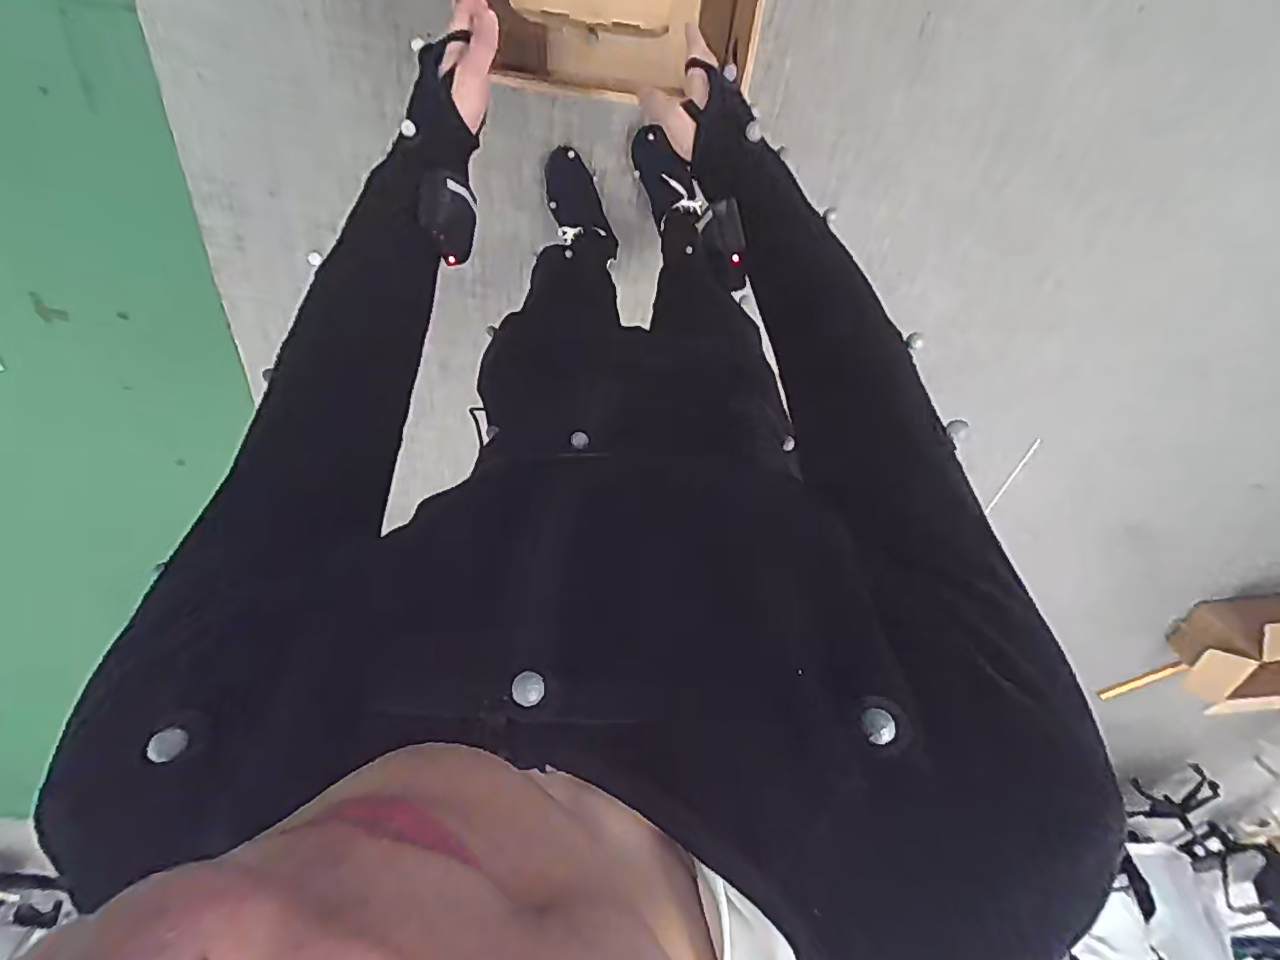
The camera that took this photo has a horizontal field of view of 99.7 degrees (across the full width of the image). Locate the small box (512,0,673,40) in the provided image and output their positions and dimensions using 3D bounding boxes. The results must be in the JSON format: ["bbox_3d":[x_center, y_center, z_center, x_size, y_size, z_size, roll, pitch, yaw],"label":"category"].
[{"bbox_3d":[-0.043,-0.584,0.561,0.168,0.176,0.179,5,127,-6],"label":"small box"}]
